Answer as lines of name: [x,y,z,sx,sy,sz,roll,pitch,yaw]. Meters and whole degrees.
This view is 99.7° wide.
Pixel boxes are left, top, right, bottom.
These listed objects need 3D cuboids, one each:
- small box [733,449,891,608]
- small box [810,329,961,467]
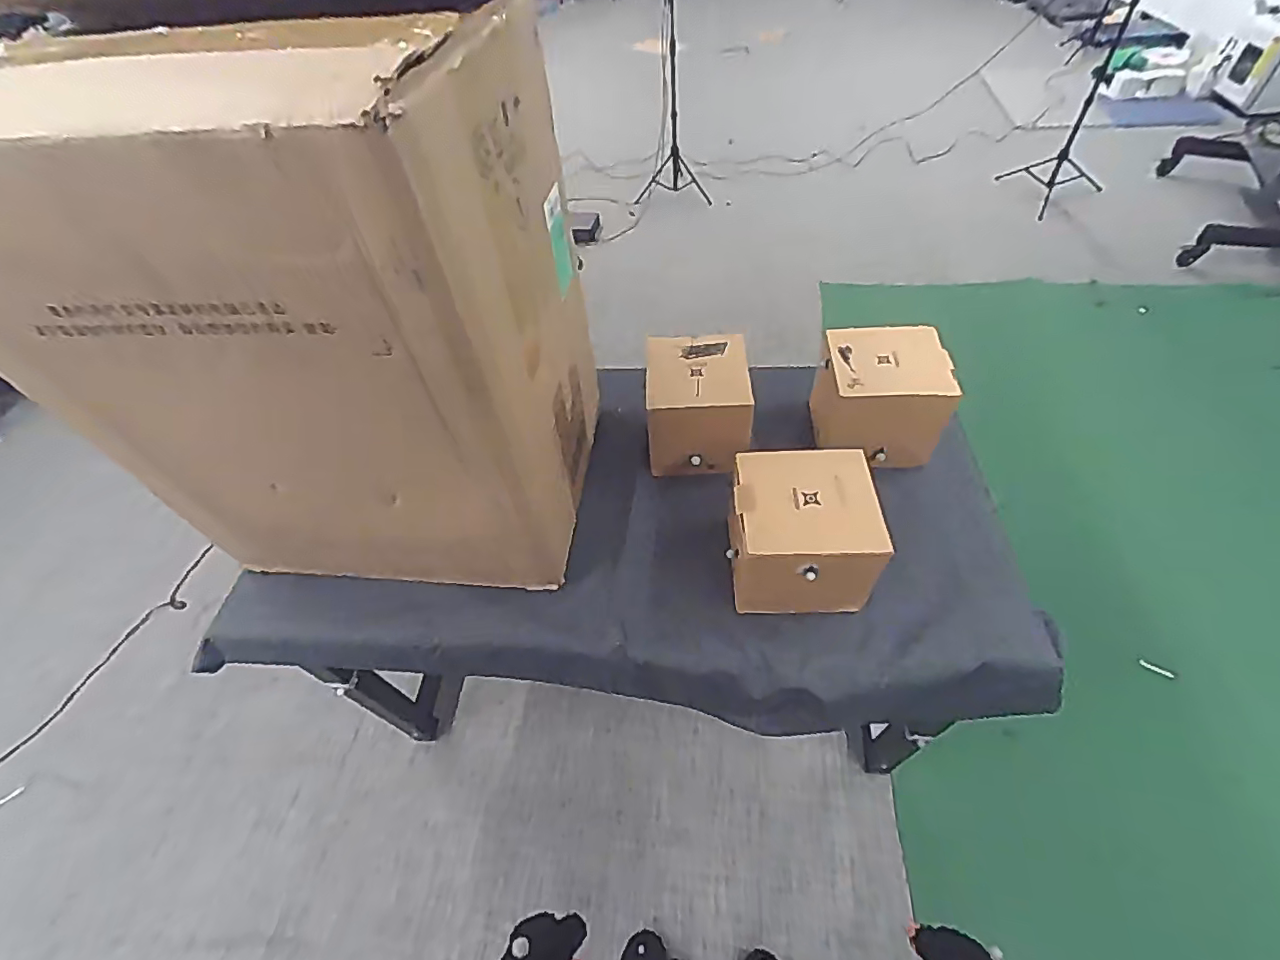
small box: [0.226,0.073,0.768,0.179,0.176,0.168,-1,52,3]
small box: [0.400,-0.135,0.916,0.179,0.176,0.168,1,50,6]
